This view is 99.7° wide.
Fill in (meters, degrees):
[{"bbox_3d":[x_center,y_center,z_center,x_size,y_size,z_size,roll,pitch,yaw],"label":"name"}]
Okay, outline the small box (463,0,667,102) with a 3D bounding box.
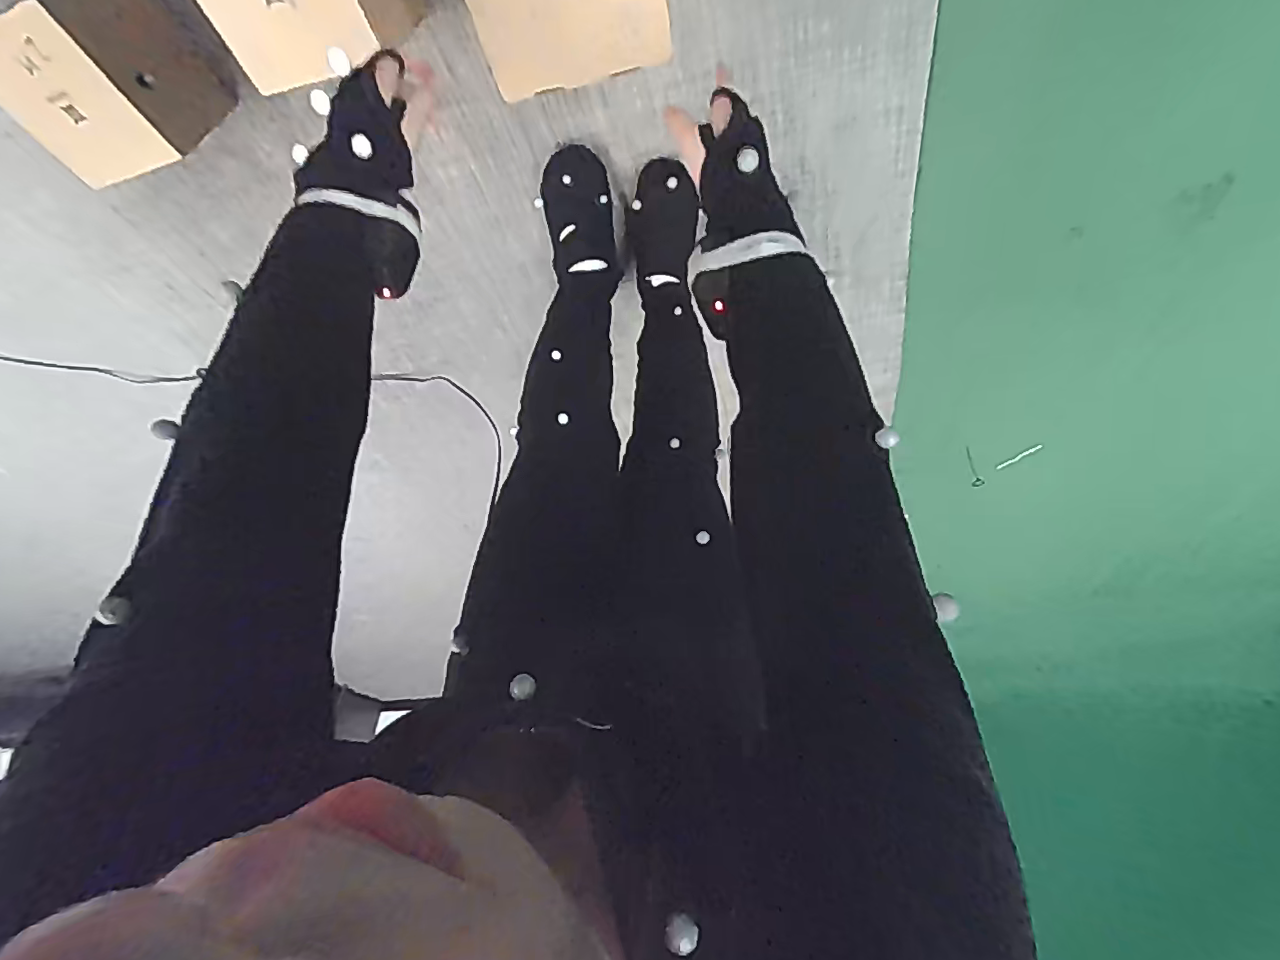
[{"bbox_3d":[-0.068,-0.480,0.475,0.168,0.176,0.179,-6,146,10],"label":"small box"}]
